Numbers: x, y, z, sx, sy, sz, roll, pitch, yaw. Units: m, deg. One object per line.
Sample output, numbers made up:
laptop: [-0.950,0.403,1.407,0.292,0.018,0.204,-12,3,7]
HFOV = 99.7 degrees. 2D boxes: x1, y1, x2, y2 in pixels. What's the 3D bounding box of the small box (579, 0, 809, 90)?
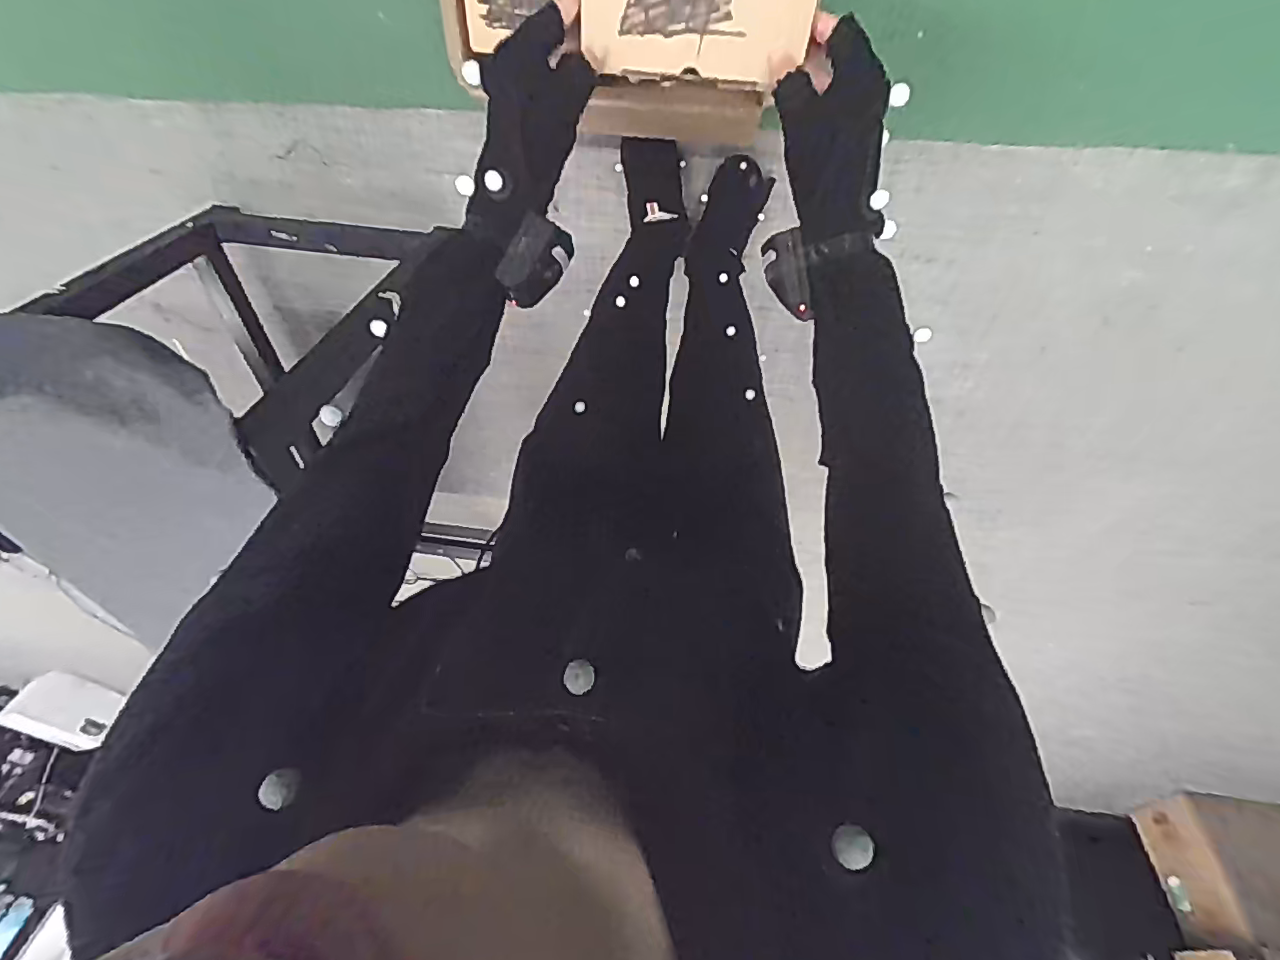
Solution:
small box: [0.047,-0.422,0.417,0.168,0.176,0.179,5,130,0]
